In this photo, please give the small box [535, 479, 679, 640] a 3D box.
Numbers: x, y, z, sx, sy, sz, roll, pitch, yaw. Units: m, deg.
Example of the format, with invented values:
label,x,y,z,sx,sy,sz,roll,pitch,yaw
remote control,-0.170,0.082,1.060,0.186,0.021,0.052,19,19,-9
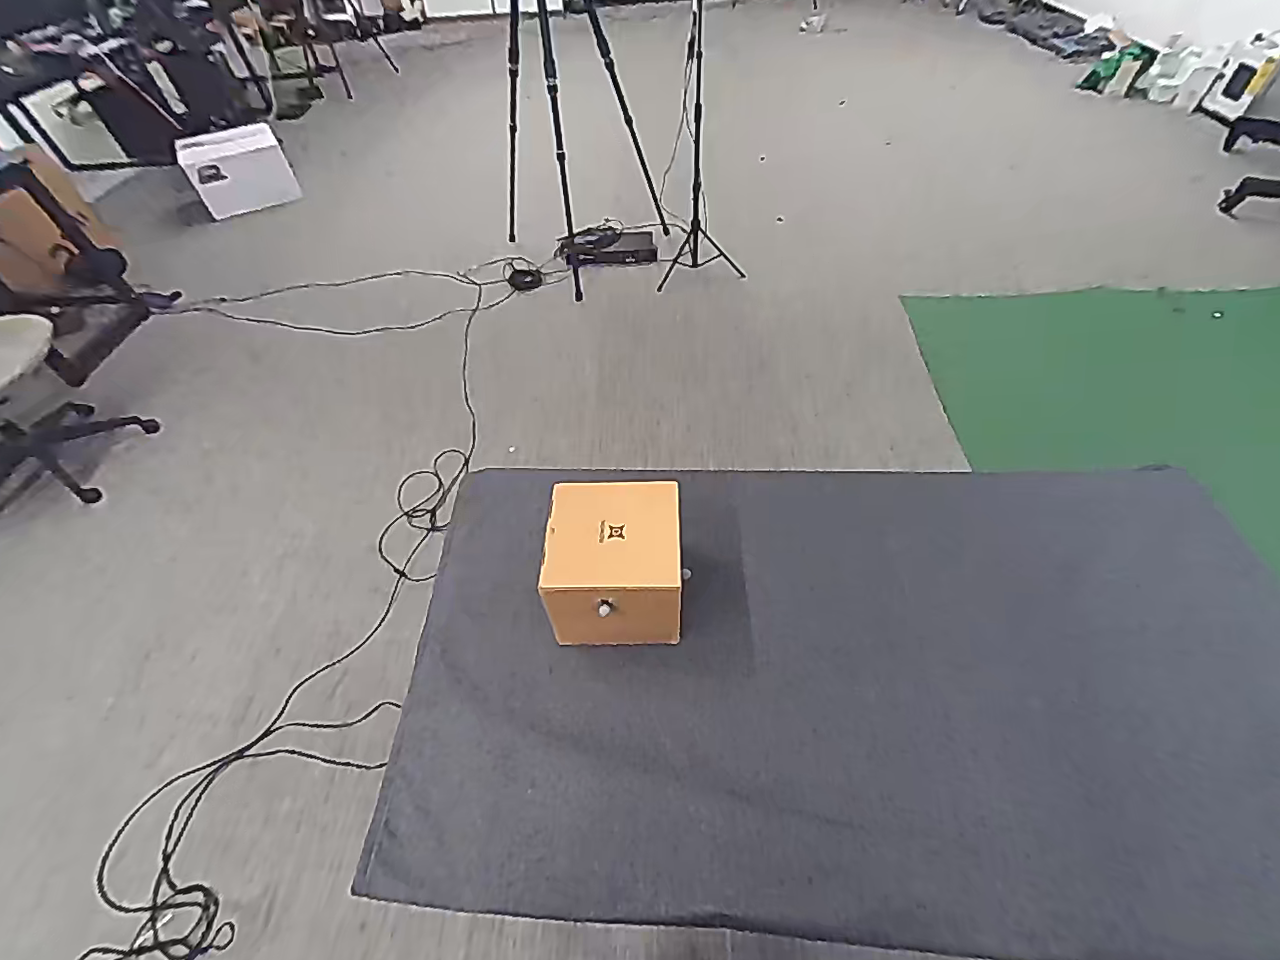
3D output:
label,x,y,z,sx,sy,sz,roll,pitch,yaw
small box,-0.035,0.114,0.758,0.179,0.176,0.168,-2,51,4
